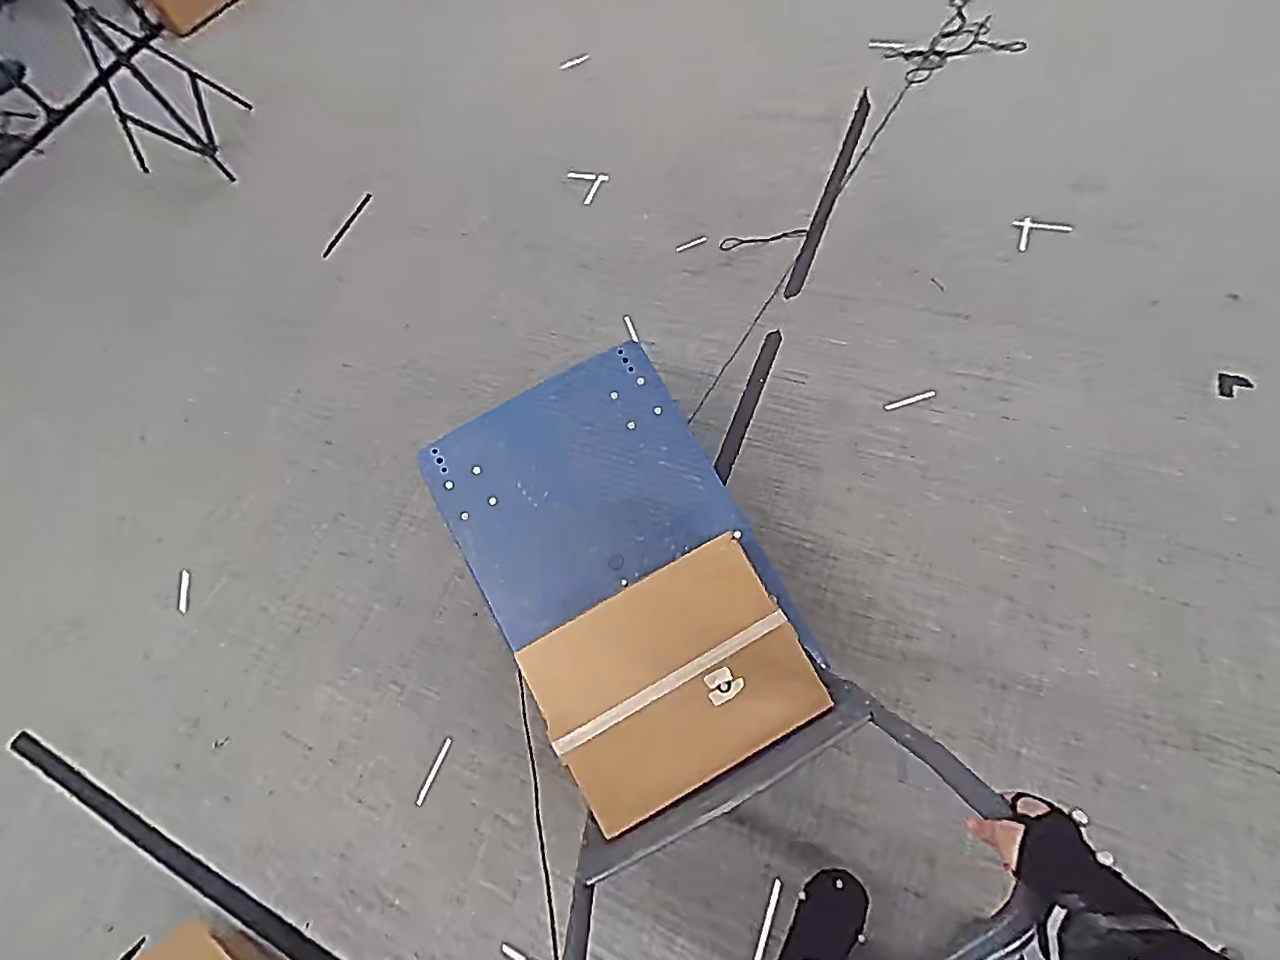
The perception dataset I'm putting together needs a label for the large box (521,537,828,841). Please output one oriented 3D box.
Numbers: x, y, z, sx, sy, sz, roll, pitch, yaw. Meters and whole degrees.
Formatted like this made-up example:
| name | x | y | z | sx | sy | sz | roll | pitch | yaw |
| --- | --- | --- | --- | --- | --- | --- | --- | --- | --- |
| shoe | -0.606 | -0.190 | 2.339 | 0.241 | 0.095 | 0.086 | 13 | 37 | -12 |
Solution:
| name | x | y | z | sx | sy | sz | roll | pitch | yaw |
| --- | --- | --- | --- | --- | --- | --- | --- | --- | --- |
| large box | 0.053 | 0.347 | 0.999 | 0.408 | 0.320 | 0.320 | -29 | 82 | -5 |
